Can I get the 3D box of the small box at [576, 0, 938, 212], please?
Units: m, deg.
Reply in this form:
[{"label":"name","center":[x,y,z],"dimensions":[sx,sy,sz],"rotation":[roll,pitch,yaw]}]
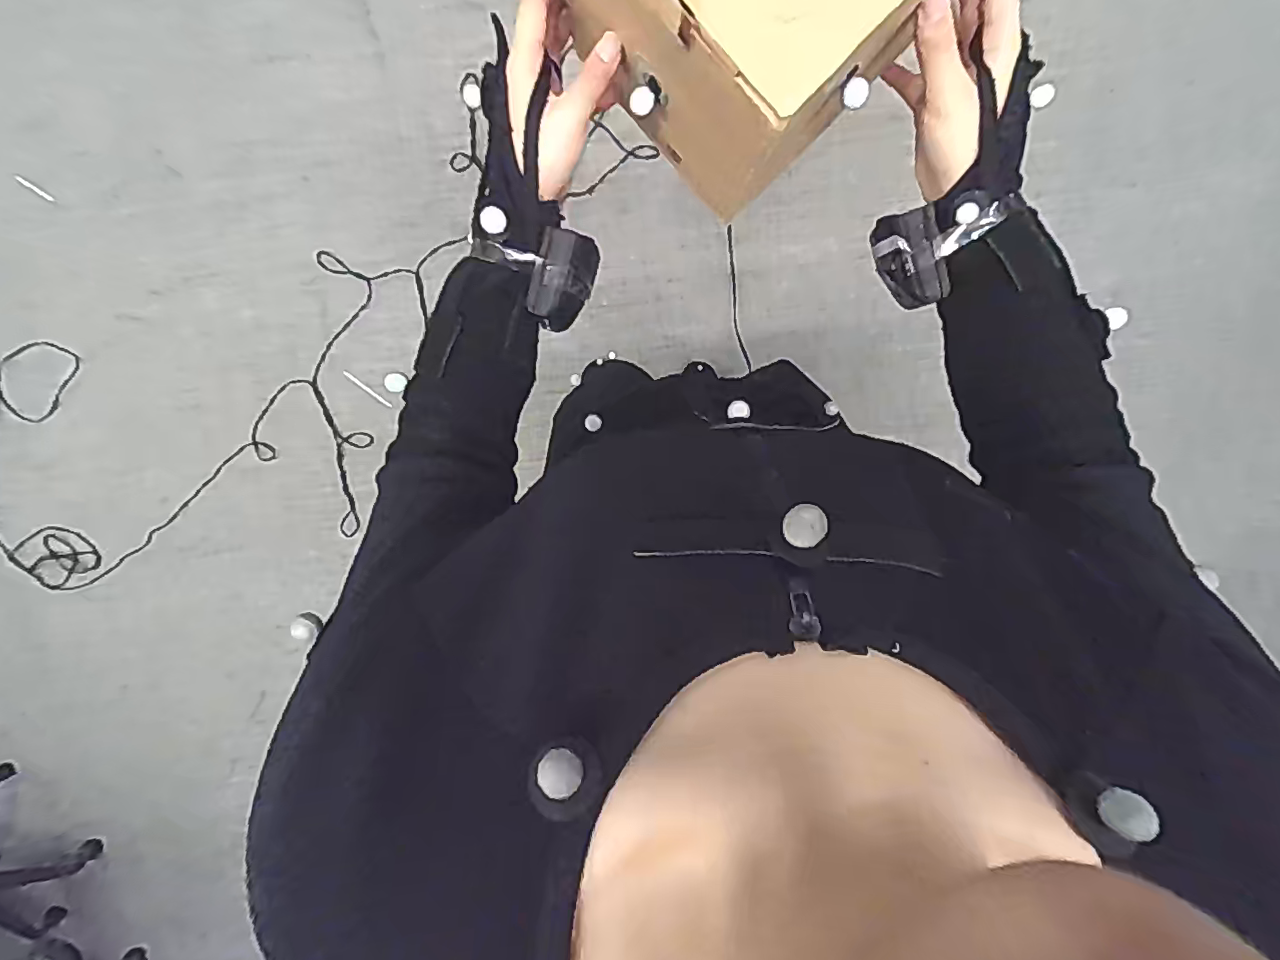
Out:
[{"label":"small box","center":[0.070,-0.294,0.311],"dimensions":[0.179,0.176,0.168],"rotation":[-43,97,9]}]
